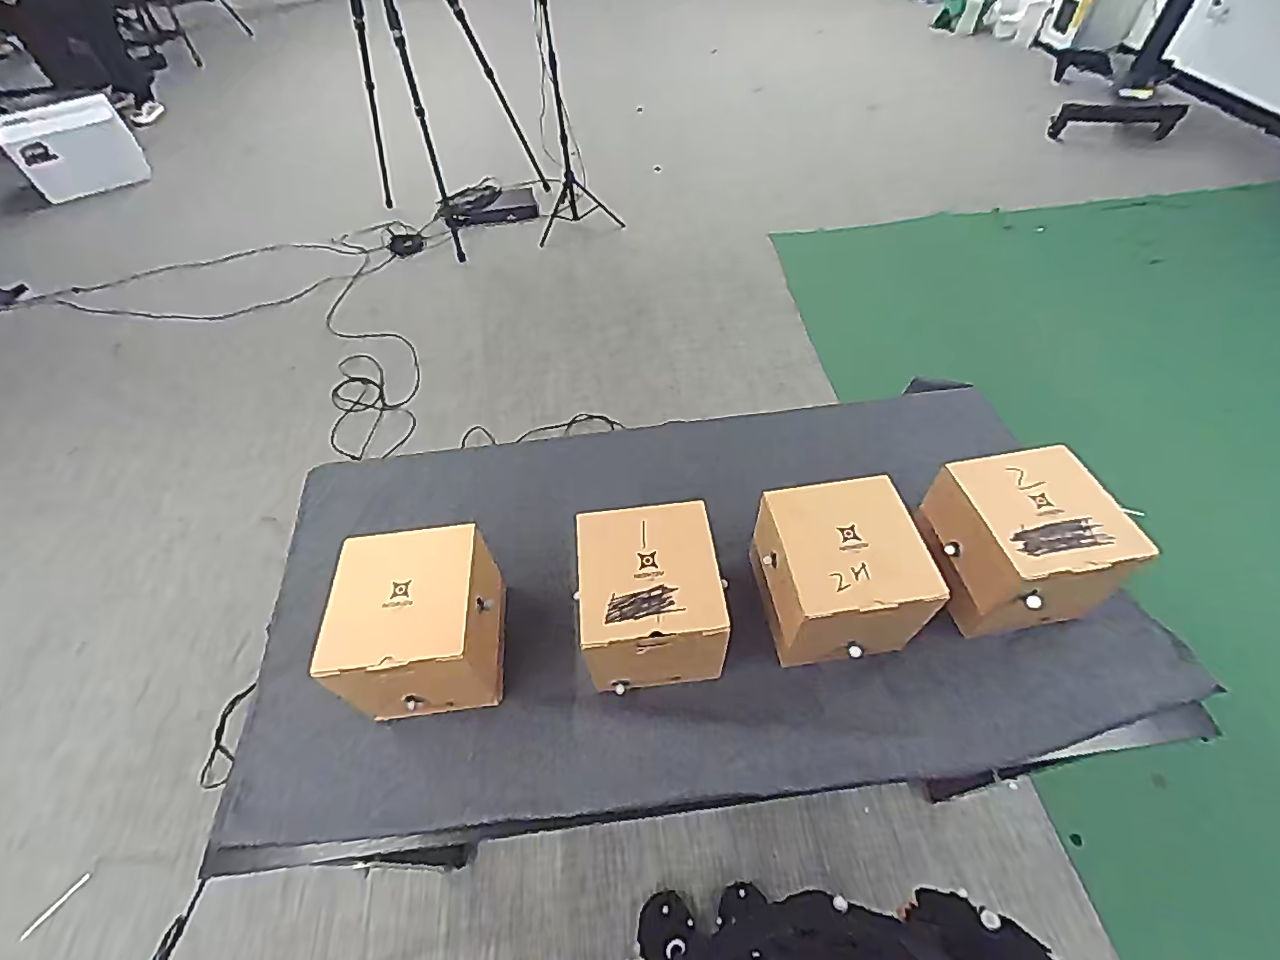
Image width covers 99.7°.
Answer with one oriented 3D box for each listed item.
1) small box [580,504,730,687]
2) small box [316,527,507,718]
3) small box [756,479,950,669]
[{"bbox_3d":[0.016,0.155,0.697,0.168,0.176,0.179,-6,52,-1],"label":"small box"},{"bbox_3d":[-0.271,0.183,0.691,0.168,0.176,0.179,-6,52,-3],"label":"small box"},{"bbox_3d":[0.256,0.125,0.705,0.168,0.176,0.179,-8,53,-1],"label":"small box"}]
